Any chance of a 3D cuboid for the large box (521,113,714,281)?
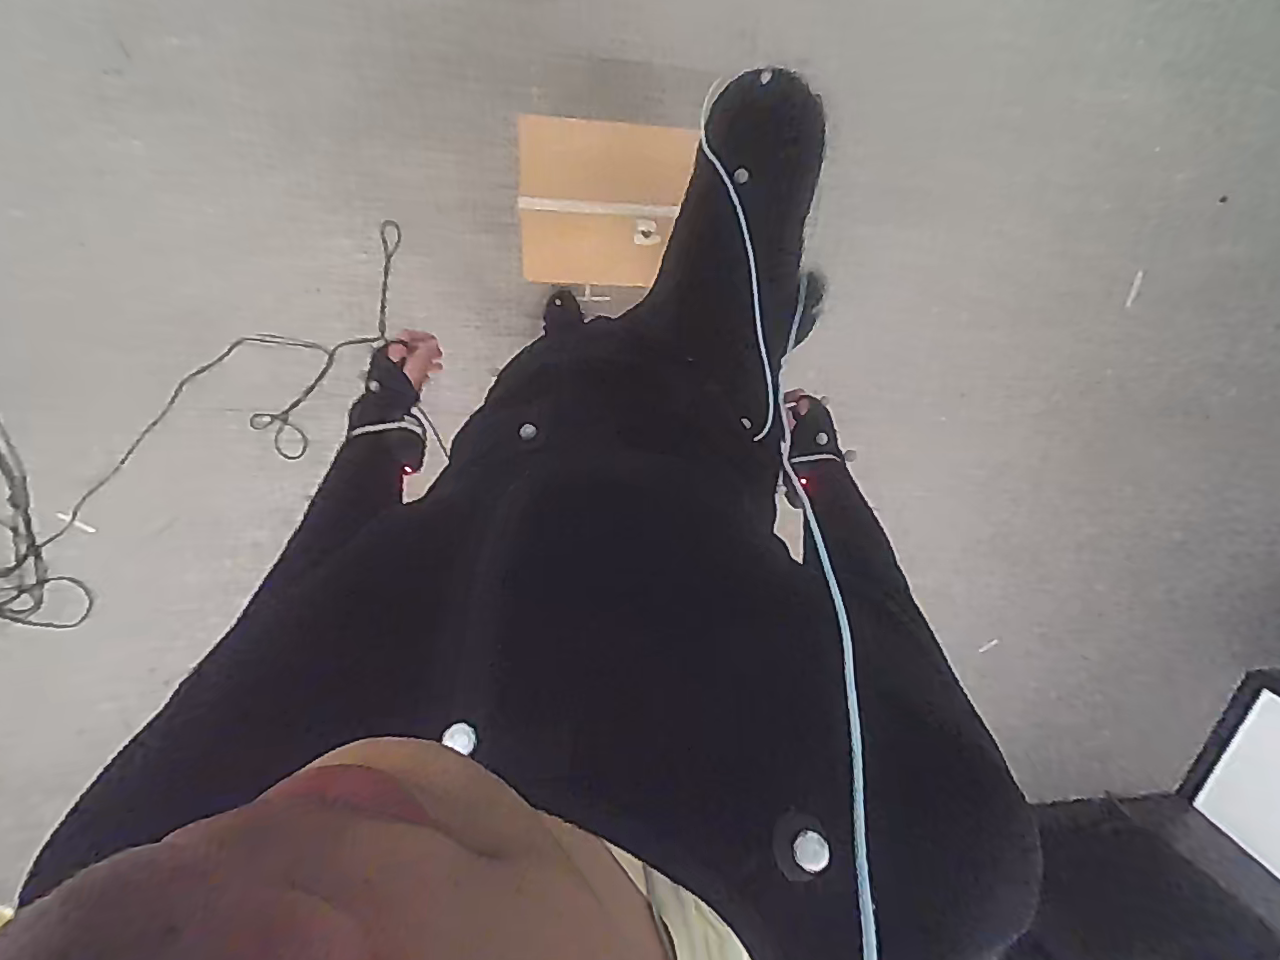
[{"bbox_3d":[-0.068,-0.649,1.296,0.408,0.320,0.320,-2,113,-9],"label":"large box"}]
